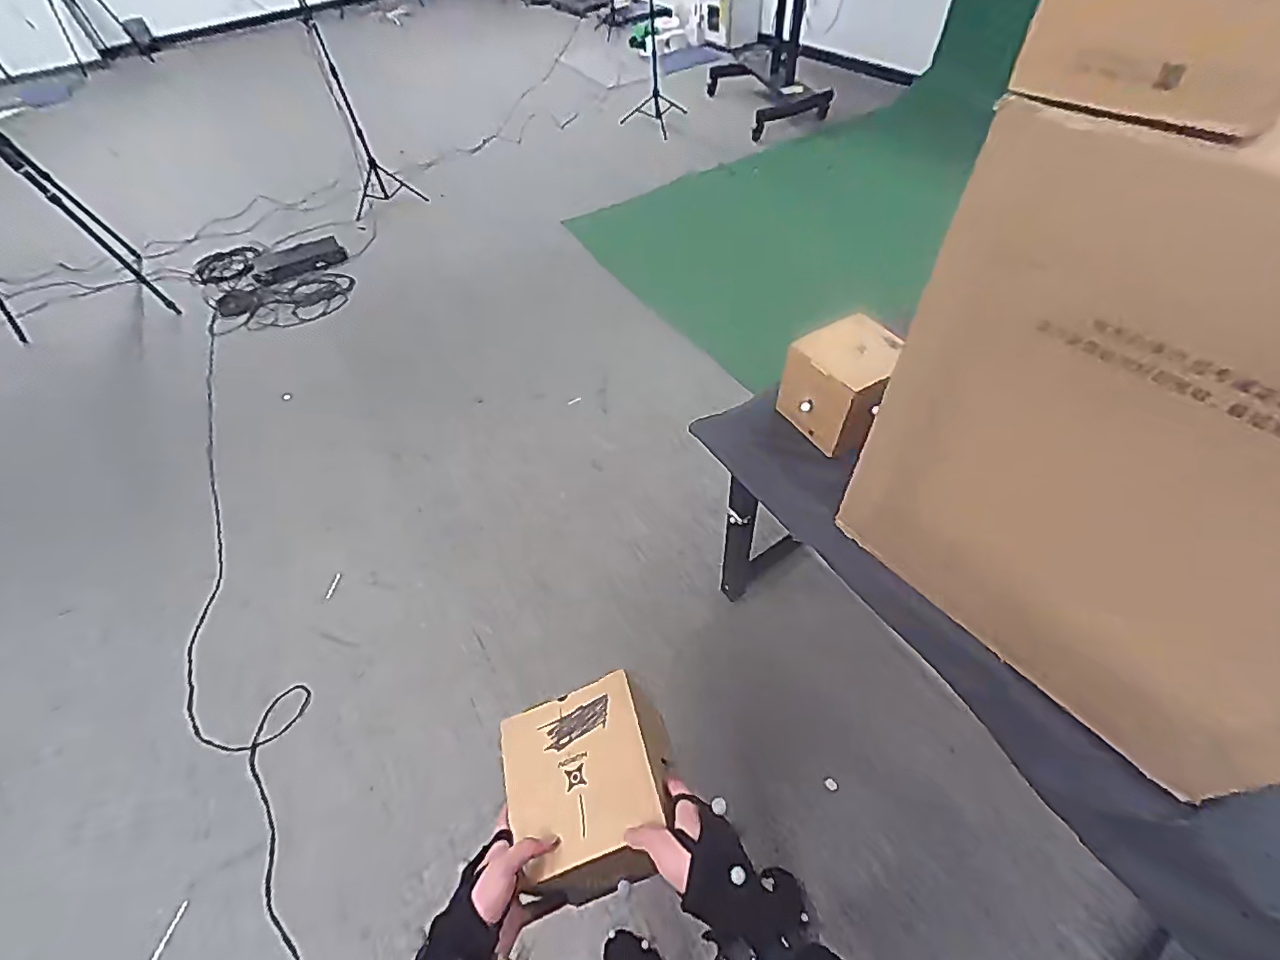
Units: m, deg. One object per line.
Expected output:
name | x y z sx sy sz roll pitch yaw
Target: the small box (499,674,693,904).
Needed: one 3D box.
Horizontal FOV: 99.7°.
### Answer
small box | -0.053 0.375 0.654 0.168 0.176 0.179 -25 44 2
